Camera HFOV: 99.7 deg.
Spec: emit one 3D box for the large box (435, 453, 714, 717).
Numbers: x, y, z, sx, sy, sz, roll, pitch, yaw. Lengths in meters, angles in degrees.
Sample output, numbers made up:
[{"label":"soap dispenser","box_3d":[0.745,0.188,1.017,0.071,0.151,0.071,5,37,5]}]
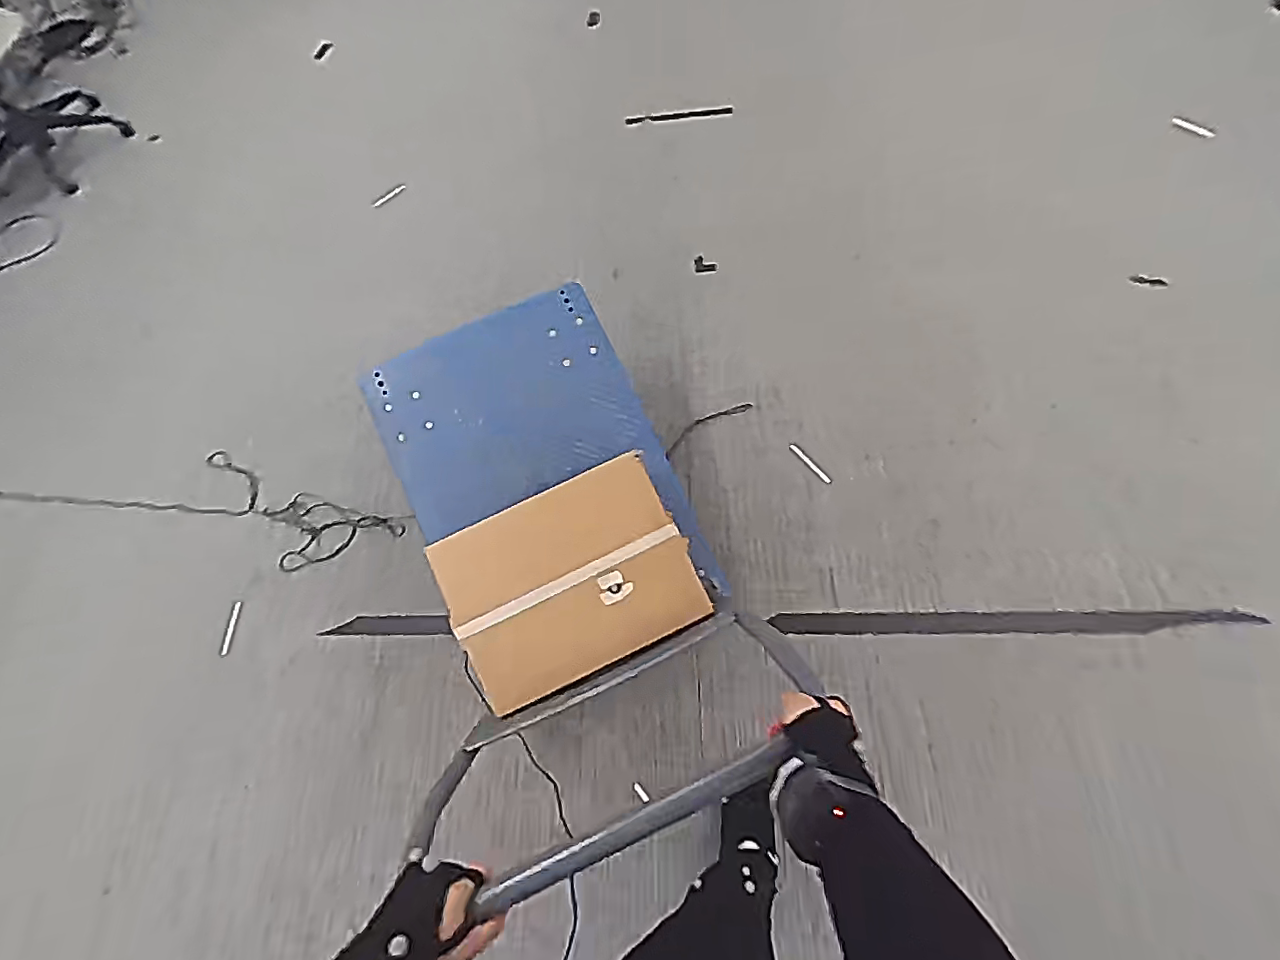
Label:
[{"label":"large box","box_3d":[-0.118,0.196,1.079,0.408,0.320,0.320,-27,84,-5]}]
